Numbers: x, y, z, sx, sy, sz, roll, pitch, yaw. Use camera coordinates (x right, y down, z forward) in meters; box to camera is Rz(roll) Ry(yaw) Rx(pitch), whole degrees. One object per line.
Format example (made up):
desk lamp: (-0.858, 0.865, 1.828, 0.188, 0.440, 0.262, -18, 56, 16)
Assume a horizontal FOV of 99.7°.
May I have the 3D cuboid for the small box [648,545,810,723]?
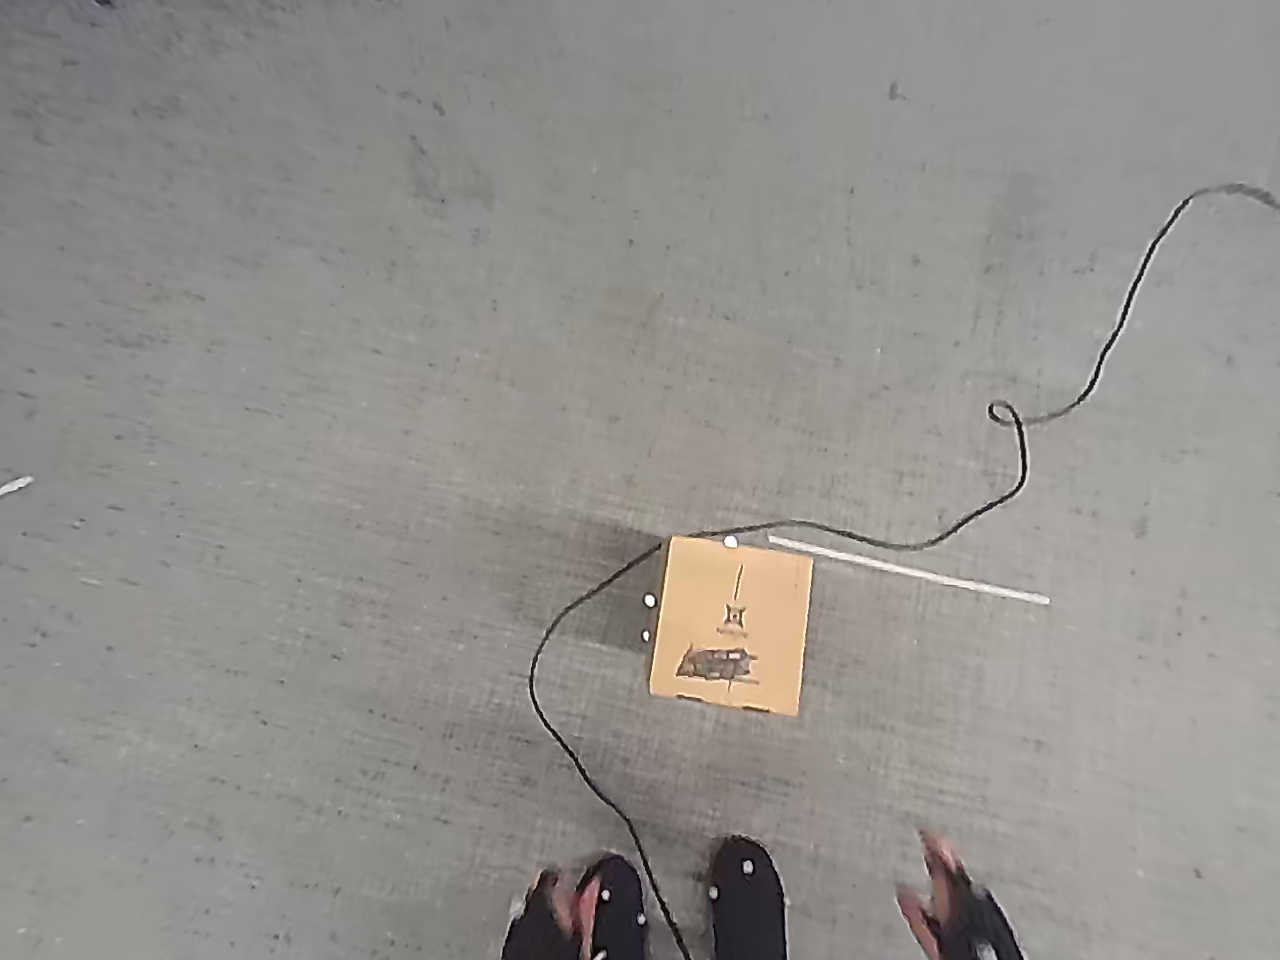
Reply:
small box: (0.103, 0.185, 0.687, 0.168, 0.176, 0.179, 8, 79, 1)
